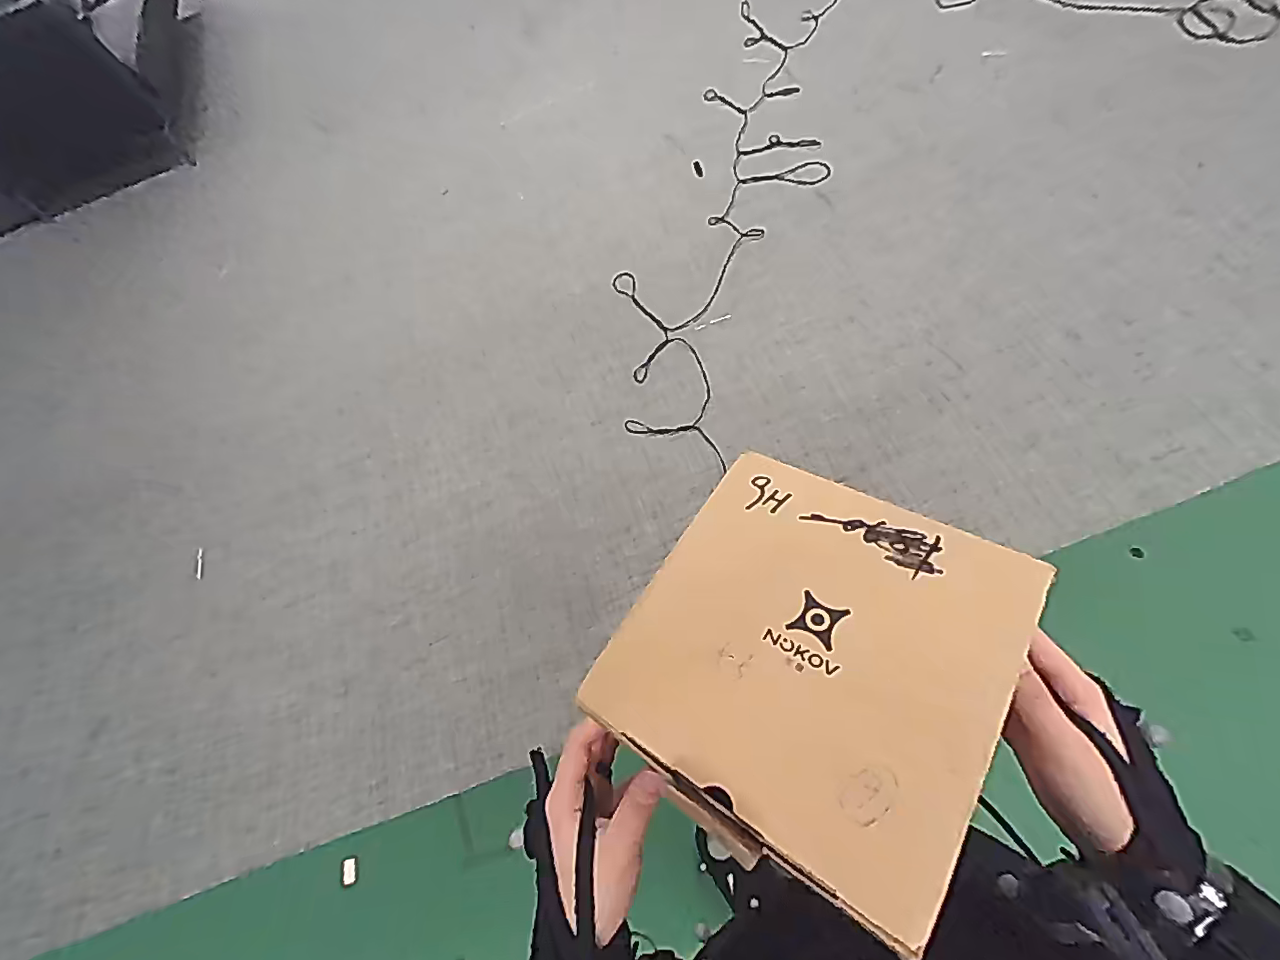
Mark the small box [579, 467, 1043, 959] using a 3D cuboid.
[{"bbox_3d":[0.098,0.129,0.327,0.168,0.176,0.179,25,65,29],"label":"small box"}]
